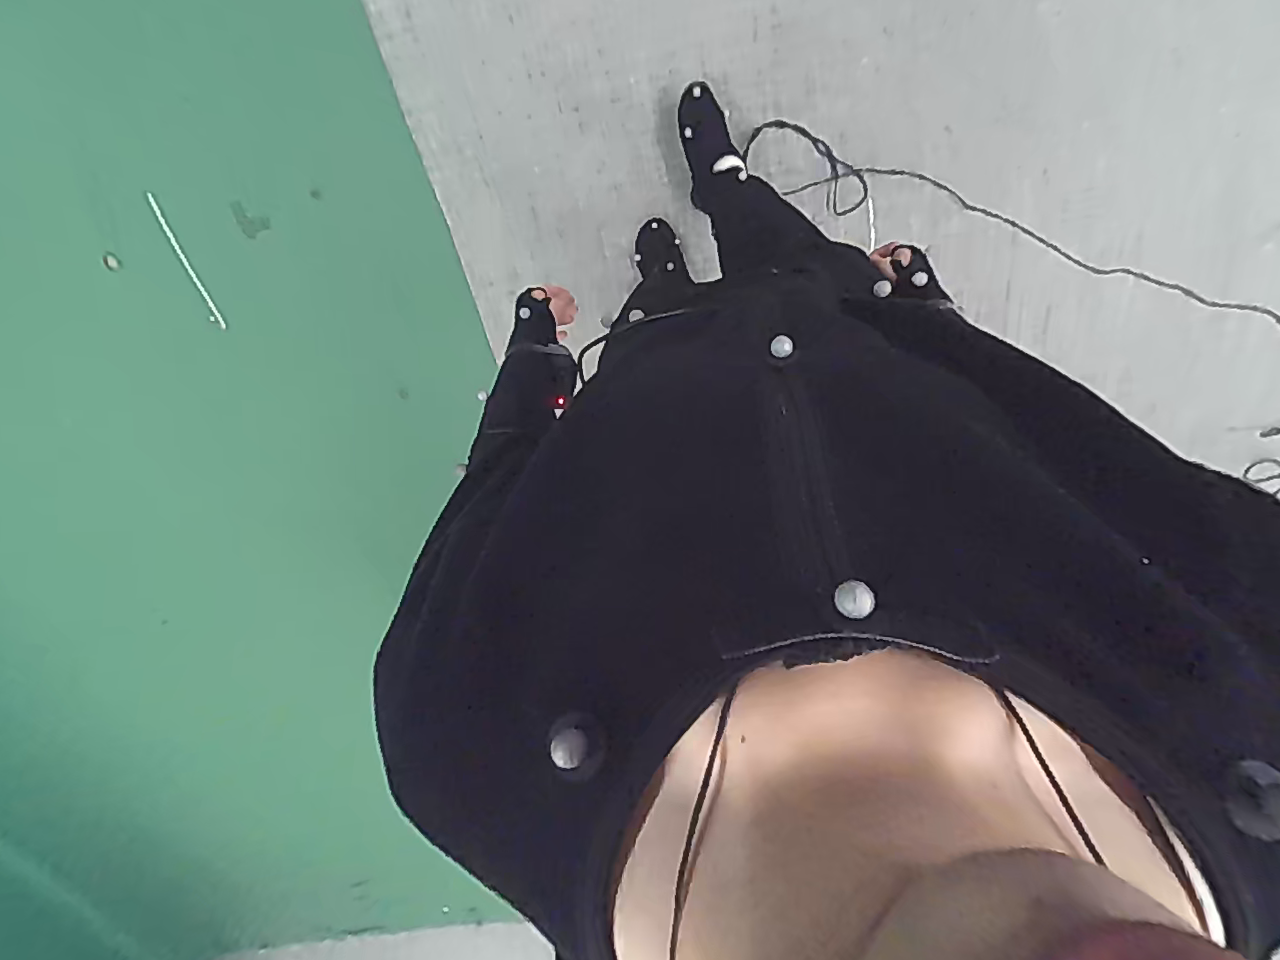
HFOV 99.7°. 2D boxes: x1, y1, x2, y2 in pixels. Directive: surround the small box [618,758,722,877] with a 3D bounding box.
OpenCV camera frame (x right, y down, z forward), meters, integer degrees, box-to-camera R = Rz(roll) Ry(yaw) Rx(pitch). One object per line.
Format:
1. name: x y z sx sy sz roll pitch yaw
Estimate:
1. small box: 0.064 0.688 1.078 0.179 0.176 0.168 -14 118 7
